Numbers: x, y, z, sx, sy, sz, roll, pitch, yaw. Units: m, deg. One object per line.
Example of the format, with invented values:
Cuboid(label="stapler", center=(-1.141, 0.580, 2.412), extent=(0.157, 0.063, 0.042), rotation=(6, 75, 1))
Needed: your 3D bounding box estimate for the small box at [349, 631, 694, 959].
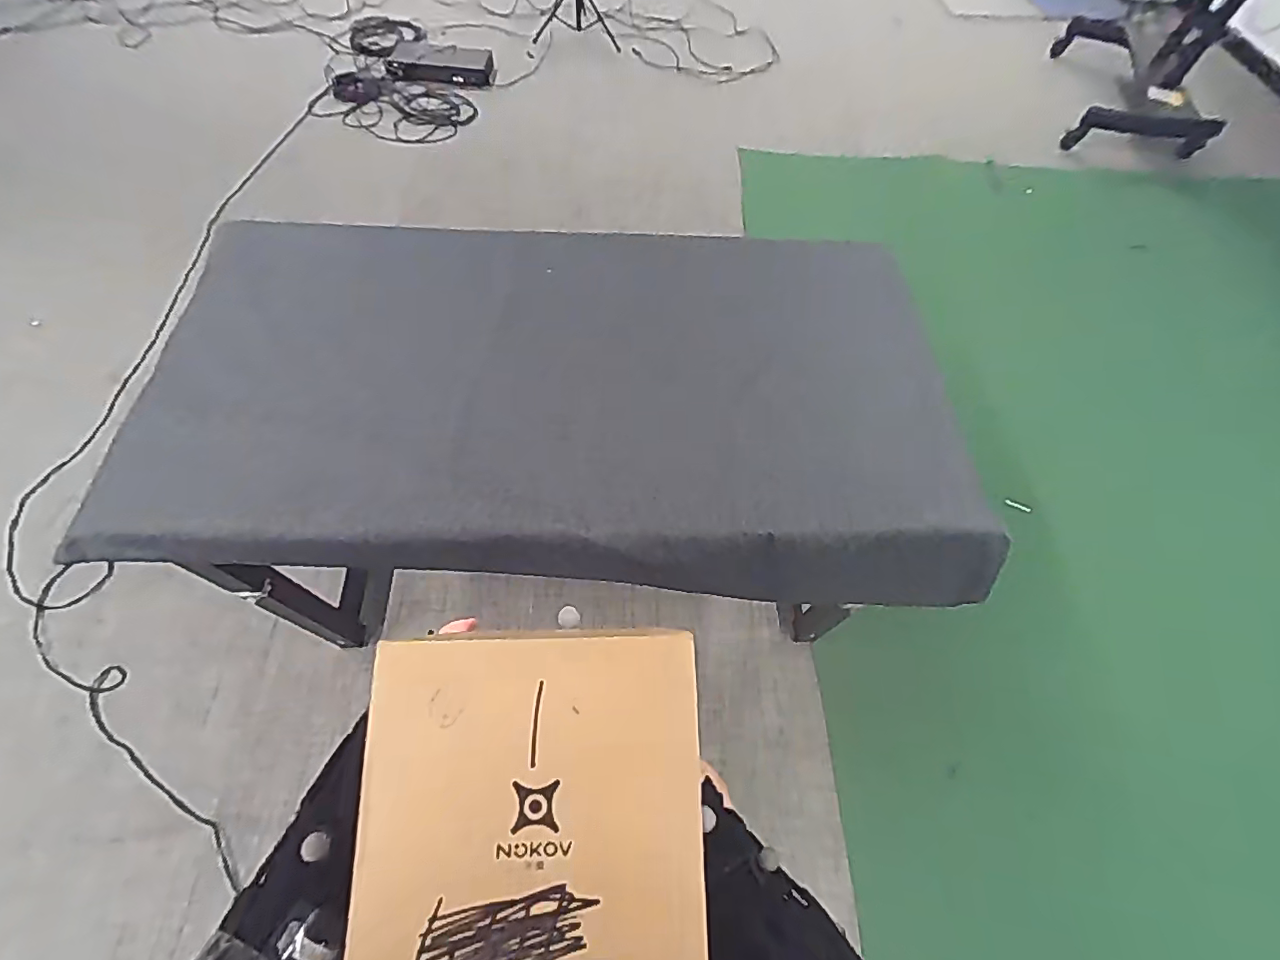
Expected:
Cuboid(label="small box", center=(-0.056, 0.191, 0.346), extent=(0.168, 0.176, 0.179), rotation=(1, 75, -2))
